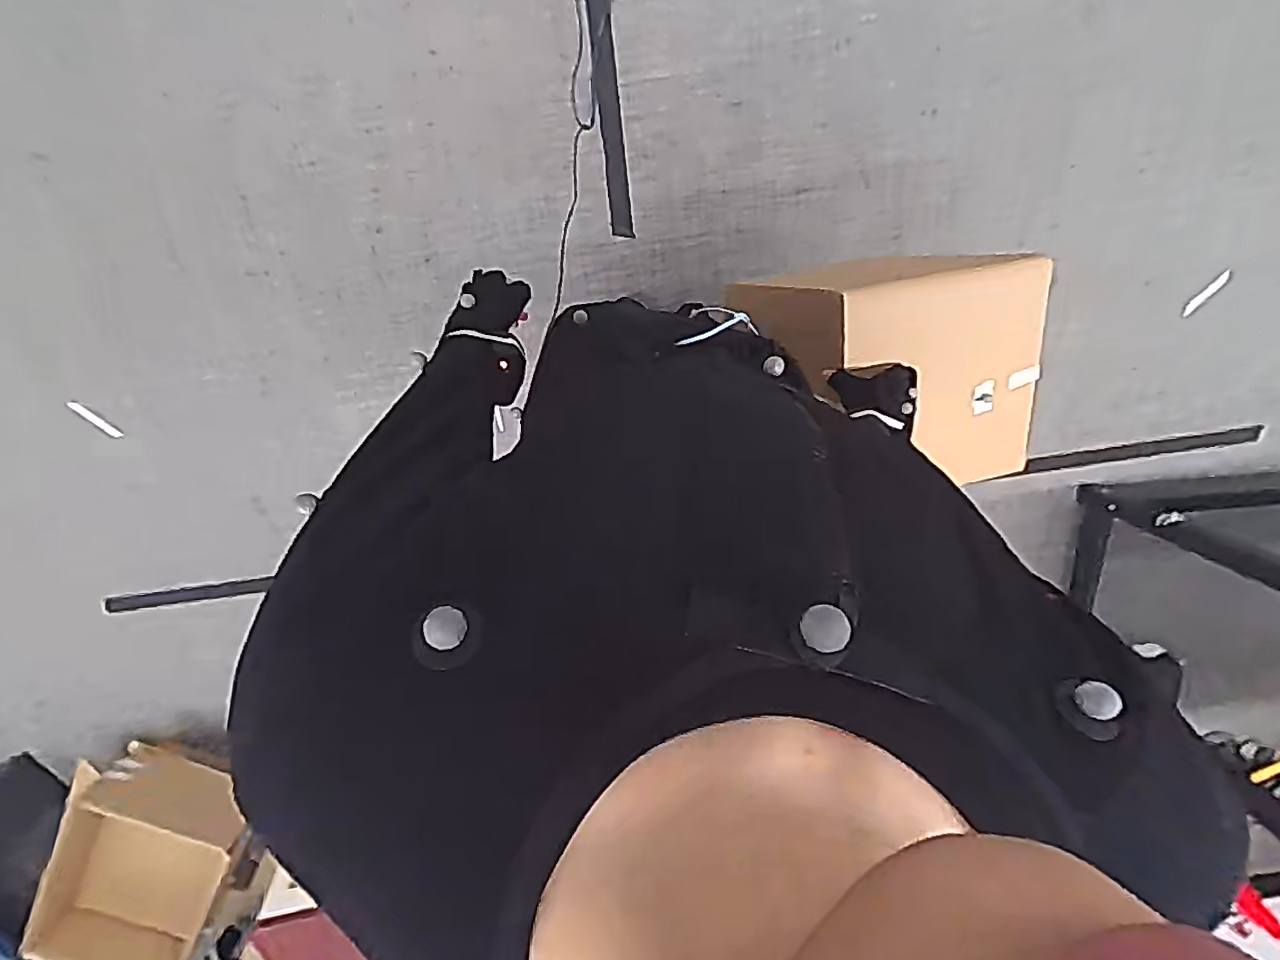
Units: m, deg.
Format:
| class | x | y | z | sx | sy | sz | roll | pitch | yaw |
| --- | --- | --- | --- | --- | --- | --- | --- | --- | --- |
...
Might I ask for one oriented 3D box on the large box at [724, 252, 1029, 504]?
| class | x | y | z | sx | sy | sz | roll | pitch | yaw |
| --- | --- | --- | --- | --- | --- | --- | --- | --- | --- |
| large box | 0.374 | -0.200 | 0.943 | 0.320 | 0.408 | 0.320 | -13 | 113 | -8 |
